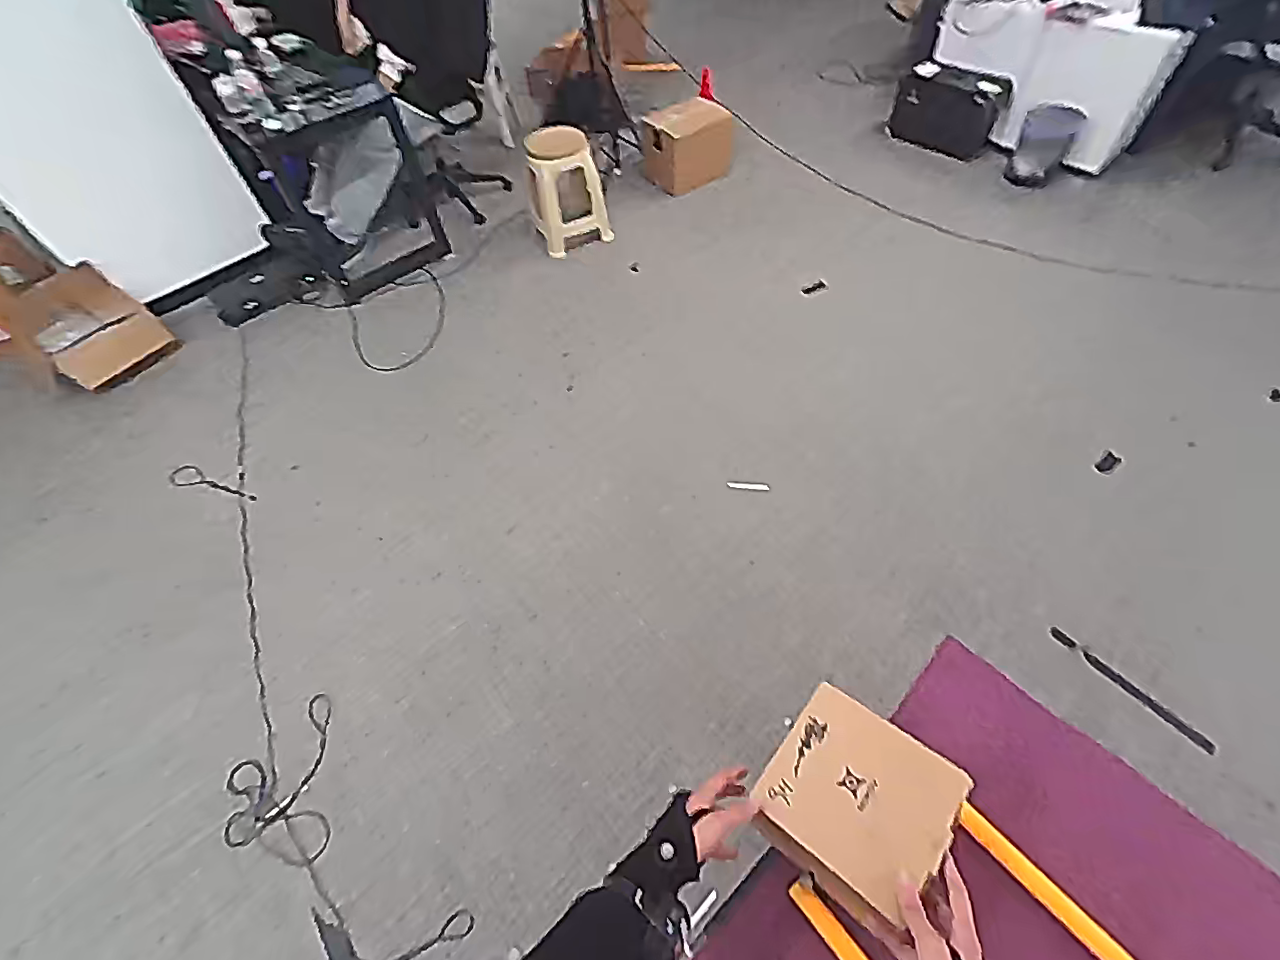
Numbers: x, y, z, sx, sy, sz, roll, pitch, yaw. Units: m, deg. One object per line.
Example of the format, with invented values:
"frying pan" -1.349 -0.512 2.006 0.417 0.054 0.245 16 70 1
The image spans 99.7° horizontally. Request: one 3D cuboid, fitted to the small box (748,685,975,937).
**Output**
"small box" 0.246 0.383 0.634 0.179 0.176 0.168 31 62 31
